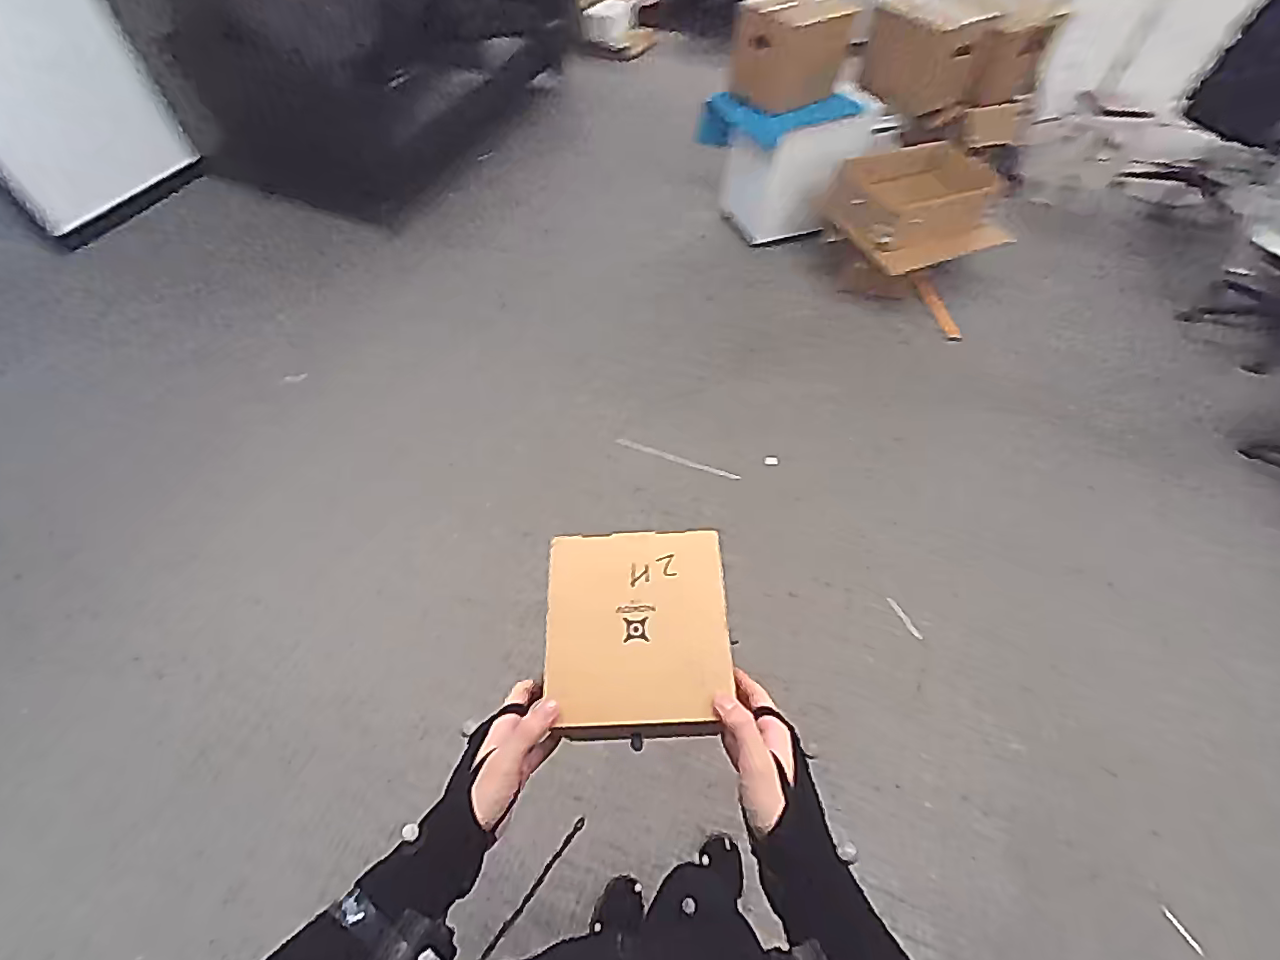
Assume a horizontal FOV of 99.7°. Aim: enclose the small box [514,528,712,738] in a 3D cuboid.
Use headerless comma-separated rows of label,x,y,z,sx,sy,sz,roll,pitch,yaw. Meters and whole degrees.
small box,-0.020,0.161,0.544,0.168,0.176,0.179,-1,61,0
